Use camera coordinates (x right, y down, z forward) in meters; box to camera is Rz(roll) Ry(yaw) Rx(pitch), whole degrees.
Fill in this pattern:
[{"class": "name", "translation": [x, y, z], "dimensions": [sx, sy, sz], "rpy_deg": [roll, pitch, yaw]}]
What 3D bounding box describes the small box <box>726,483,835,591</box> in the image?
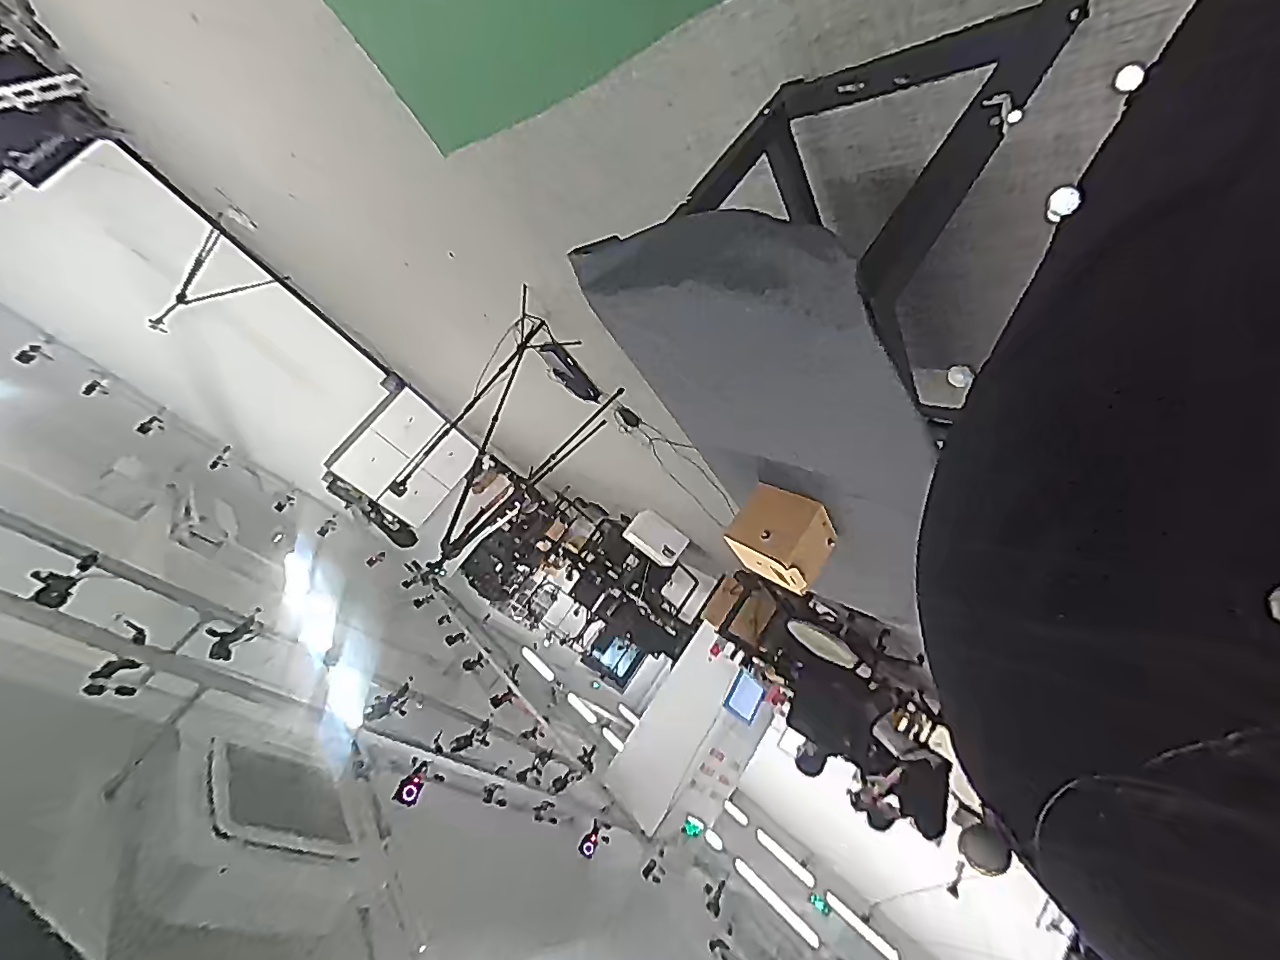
[{"class": "small box", "translation": [0.344, 0.130, 1.292], "dimensions": [0.179, 0.176, 0.168], "rpy_deg": [24, 161, 44]}]
